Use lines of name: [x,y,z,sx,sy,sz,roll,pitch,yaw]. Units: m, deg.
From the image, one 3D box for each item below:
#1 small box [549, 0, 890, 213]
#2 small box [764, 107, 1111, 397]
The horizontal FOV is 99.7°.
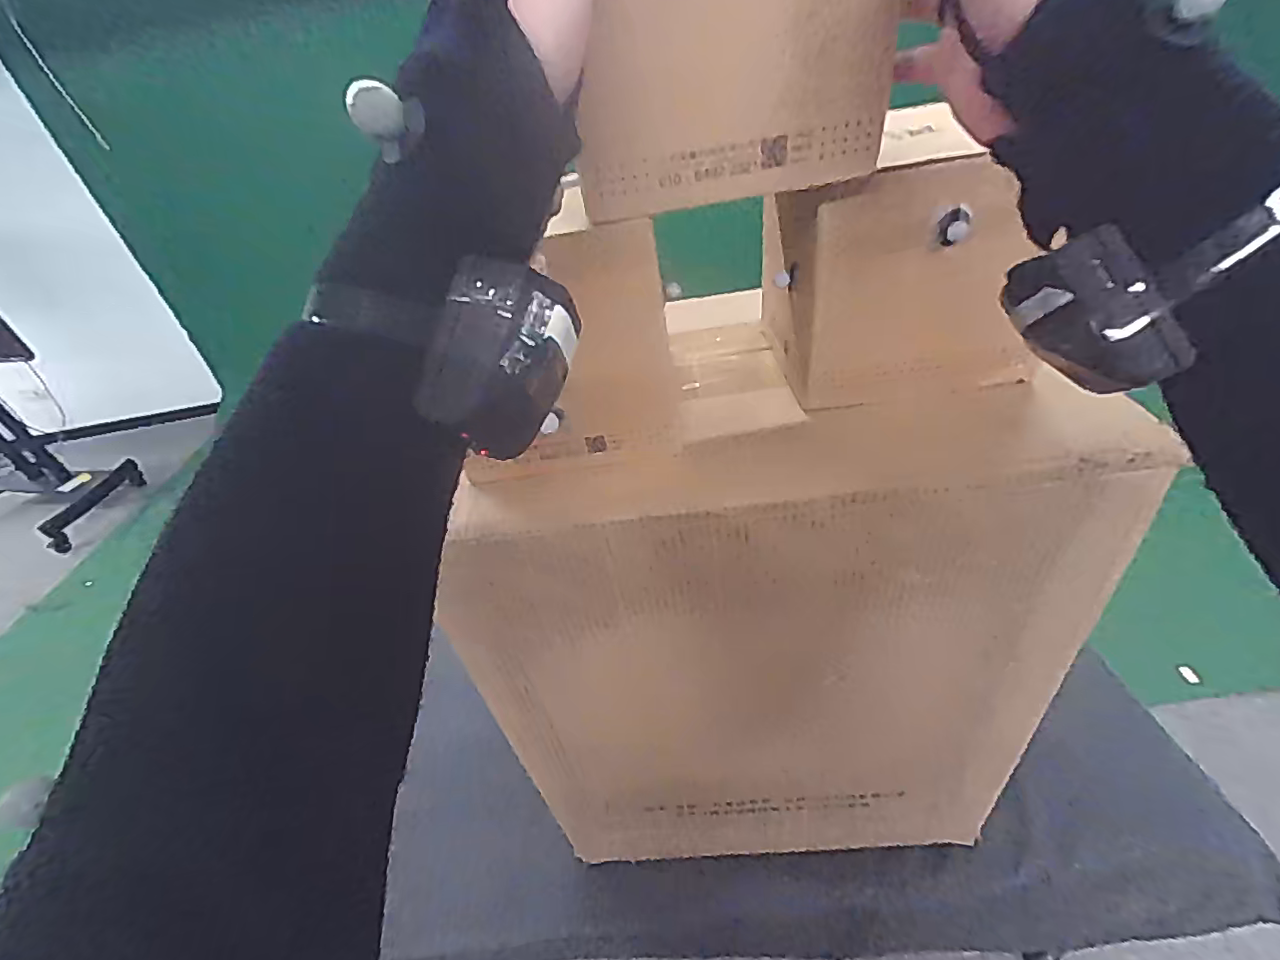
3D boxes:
small box: [0.032,-0.273,0.322,0.168,0.176,0.179,-10,39,-1]
small box: [0.199,-0.179,0.430,0.179,0.176,0.168,-6,40,2]
